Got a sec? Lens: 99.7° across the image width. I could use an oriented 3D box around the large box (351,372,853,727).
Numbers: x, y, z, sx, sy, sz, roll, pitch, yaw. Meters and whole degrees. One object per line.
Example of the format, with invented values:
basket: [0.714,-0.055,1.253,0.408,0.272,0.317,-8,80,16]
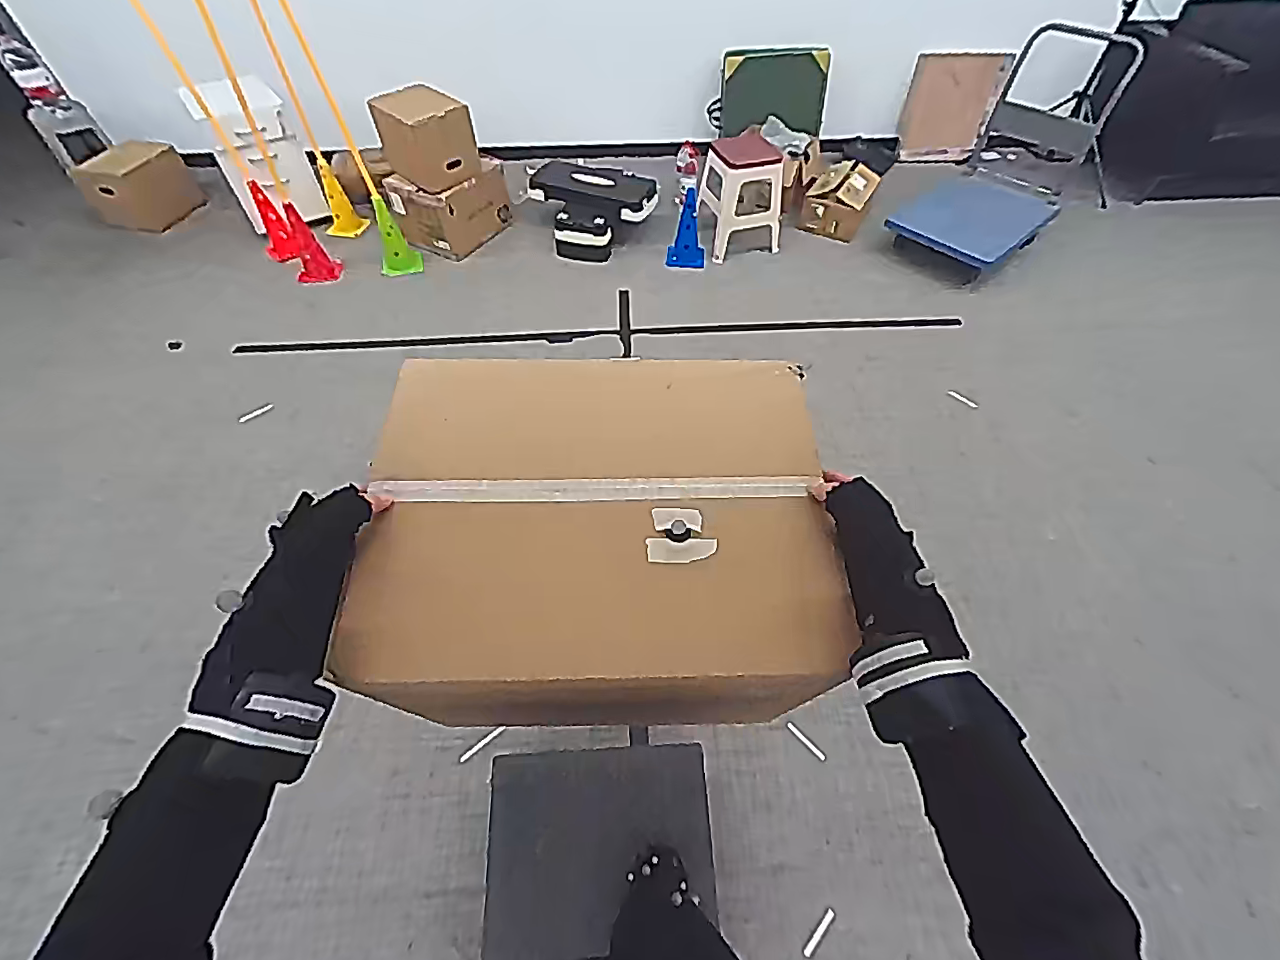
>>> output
large box: [-0.037,0.093,0.624,0.408,0.320,0.320,0,60,-2]
